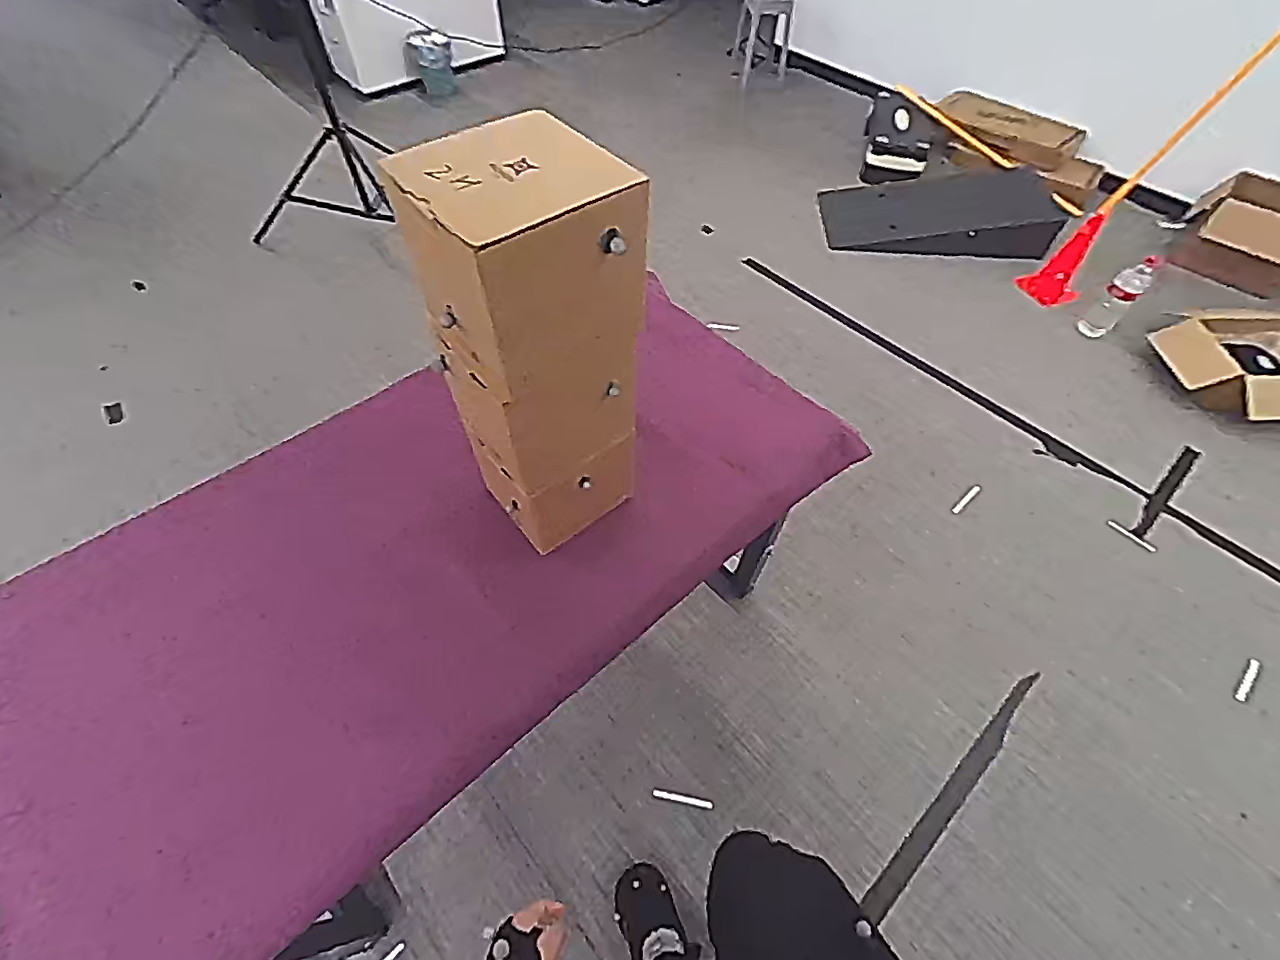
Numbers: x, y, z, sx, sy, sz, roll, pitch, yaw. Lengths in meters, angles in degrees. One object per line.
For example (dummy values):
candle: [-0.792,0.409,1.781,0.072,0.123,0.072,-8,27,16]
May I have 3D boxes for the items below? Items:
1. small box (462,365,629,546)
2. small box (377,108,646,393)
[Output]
small box: [-0.130,-0.033,0.800,0.179,0.176,0.168,-34,64,-23]
small box: [-0.113,-0.221,0.530,0.179,0.176,0.168,-35,63,-22]
